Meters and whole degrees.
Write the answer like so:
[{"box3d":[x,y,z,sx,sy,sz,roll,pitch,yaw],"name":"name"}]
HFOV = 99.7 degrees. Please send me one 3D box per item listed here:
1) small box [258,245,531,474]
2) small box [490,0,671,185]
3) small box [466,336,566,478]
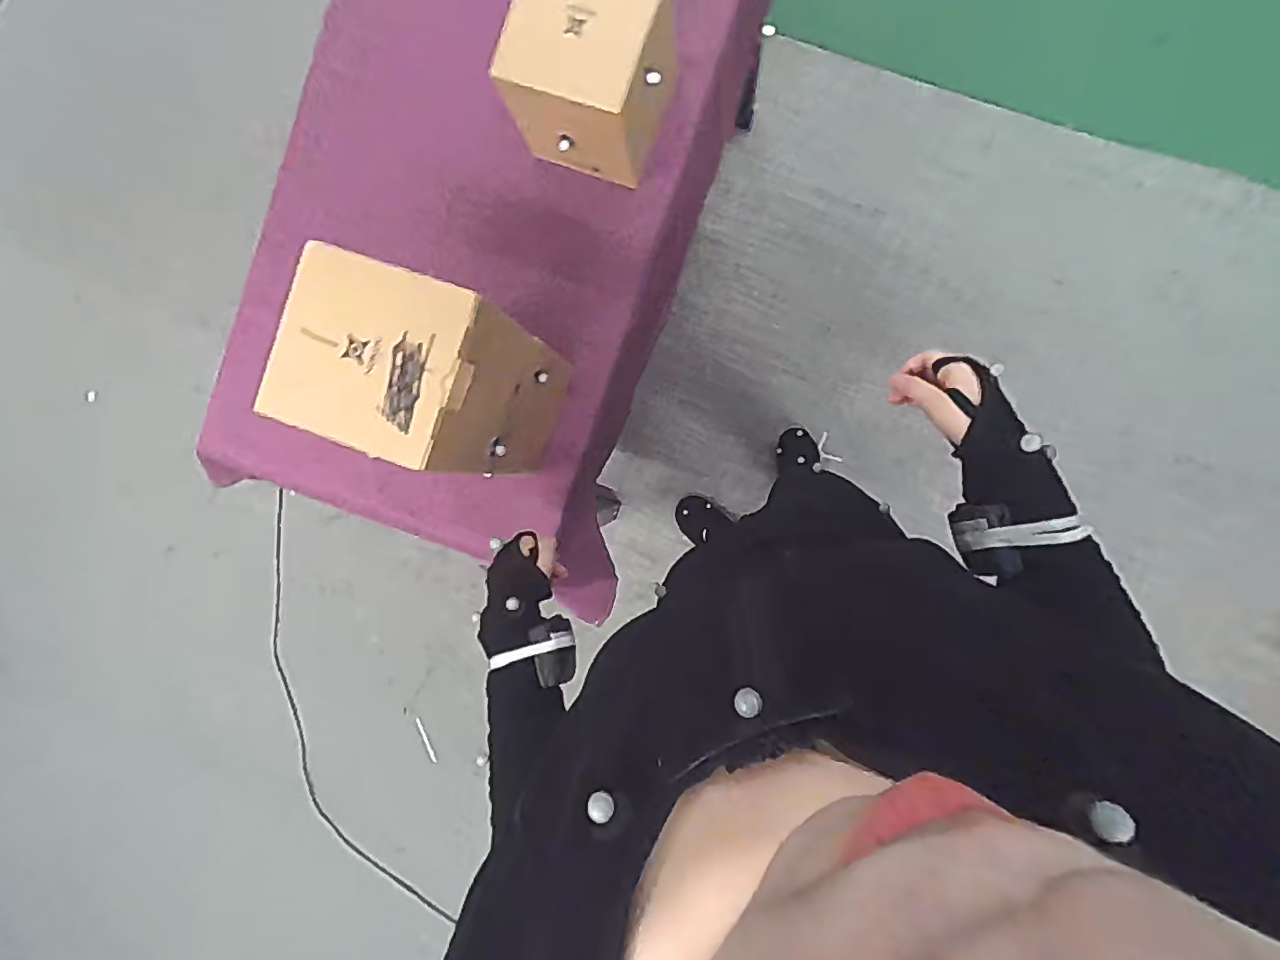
[{"box3d":[-0.235,-0.111,0.562,0.179,0.176,0.168,19,92,8],"name":"small box"},{"box3d":[-0.063,-0.523,0.700,0.168,0.176,0.179,21,93,6],"name":"small box"},{"box3d":[-0.214,-0.110,0.725,0.168,0.176,0.179,19,92,6],"name":"small box"}]
